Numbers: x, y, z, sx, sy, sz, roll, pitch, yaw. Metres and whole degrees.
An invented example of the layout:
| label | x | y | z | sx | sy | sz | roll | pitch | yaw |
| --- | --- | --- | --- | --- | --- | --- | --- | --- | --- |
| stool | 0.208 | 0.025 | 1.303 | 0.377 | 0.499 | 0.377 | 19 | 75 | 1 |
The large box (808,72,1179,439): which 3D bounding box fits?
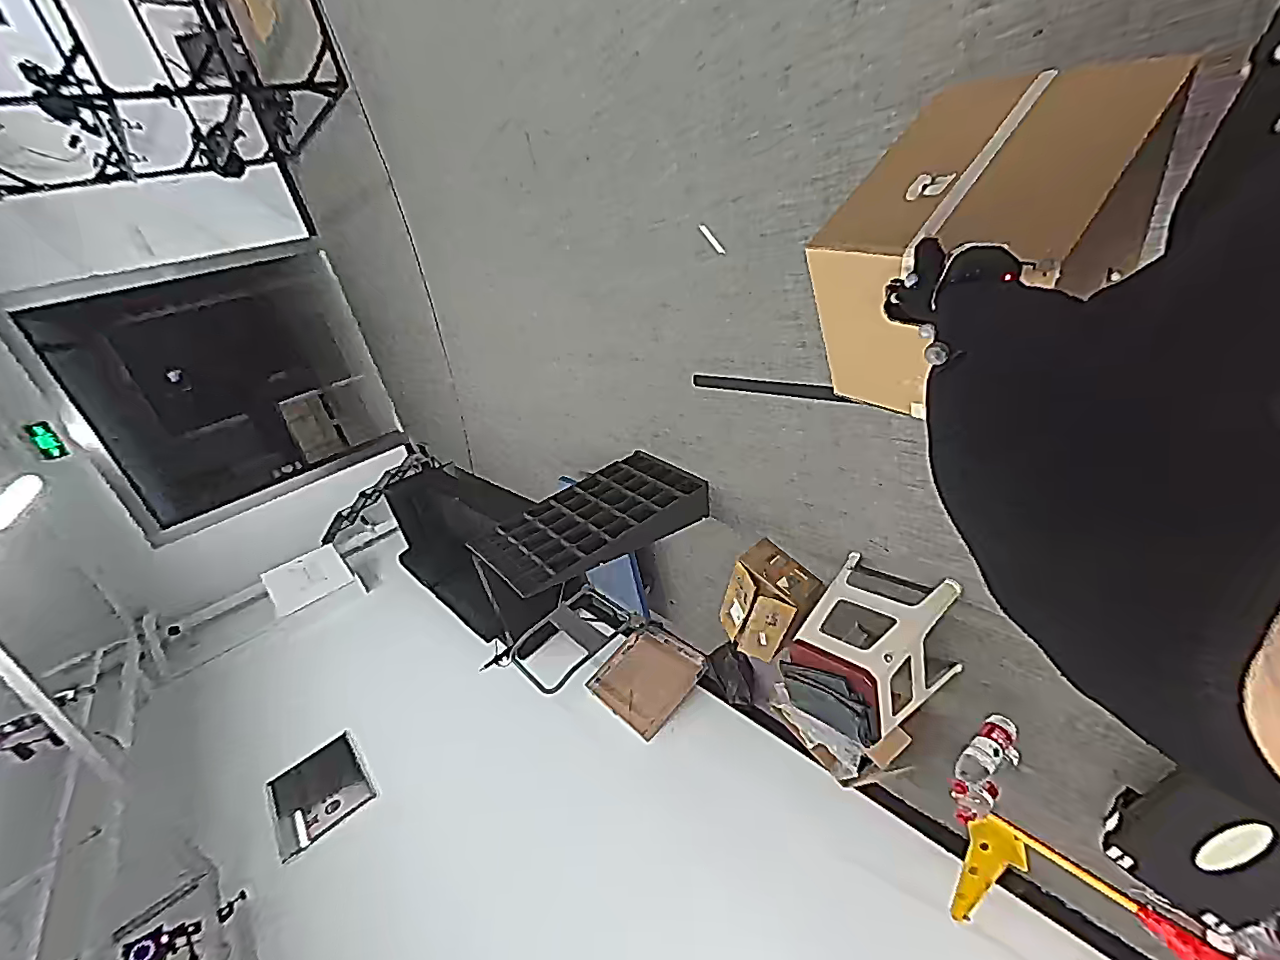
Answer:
| label | x | y | z | sx | sy | sz | roll | pitch | yaw |
| --- | --- | --- | --- | --- | --- | --- | --- | --- | --- |
| large box | 0.528 | -0.341 | 0.848 | 0.320 | 0.408 | 0.320 | 28 | 163 | 42 |
